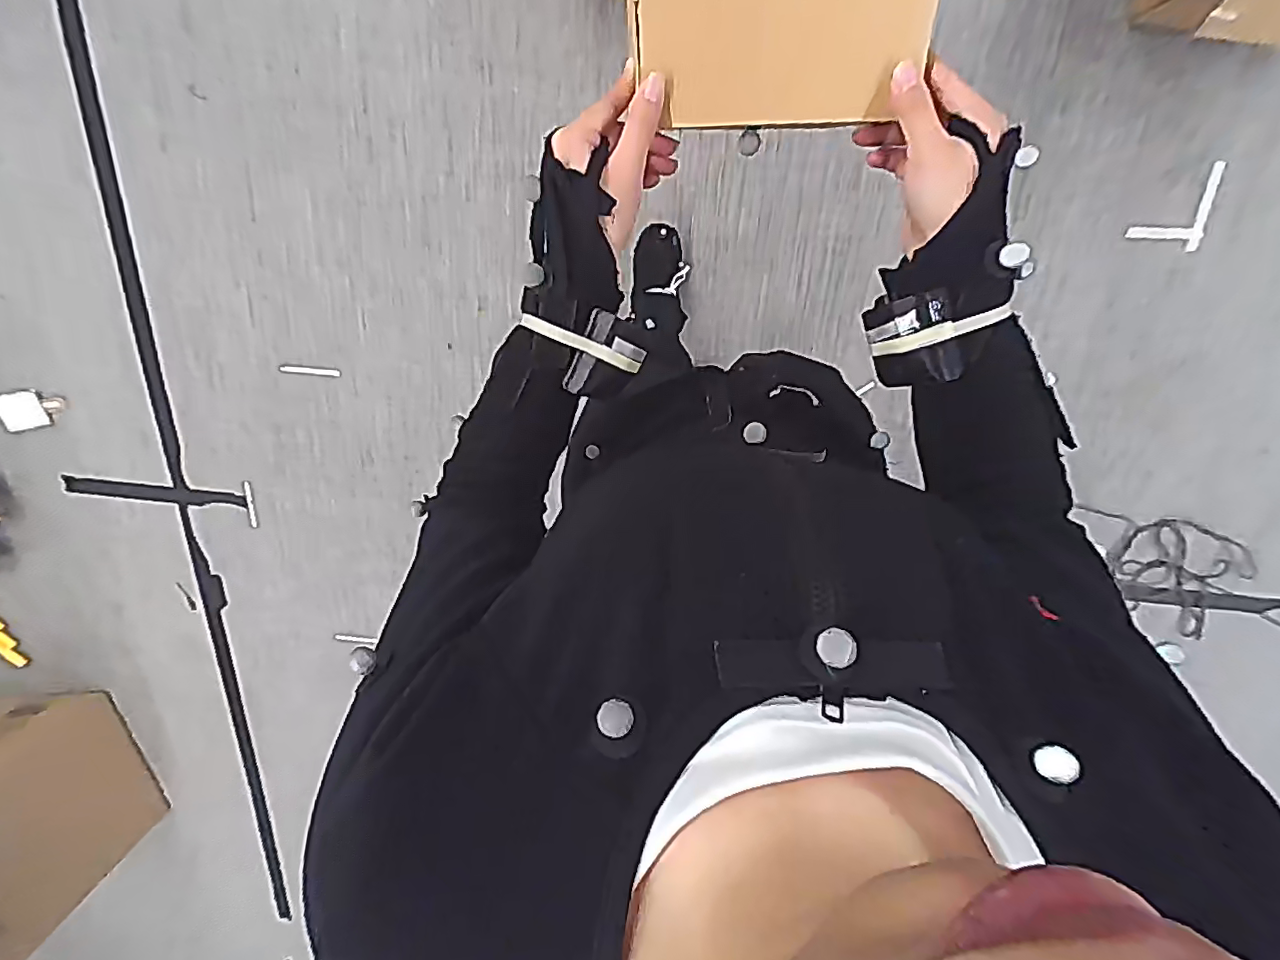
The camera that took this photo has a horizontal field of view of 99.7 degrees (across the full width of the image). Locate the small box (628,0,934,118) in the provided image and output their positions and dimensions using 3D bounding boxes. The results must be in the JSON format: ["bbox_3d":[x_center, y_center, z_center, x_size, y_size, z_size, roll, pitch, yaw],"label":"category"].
[{"bbox_3d":[0.080,-0.343,0.360,0.179,0.176,0.168,-1,123,0],"label":"small box"}]
